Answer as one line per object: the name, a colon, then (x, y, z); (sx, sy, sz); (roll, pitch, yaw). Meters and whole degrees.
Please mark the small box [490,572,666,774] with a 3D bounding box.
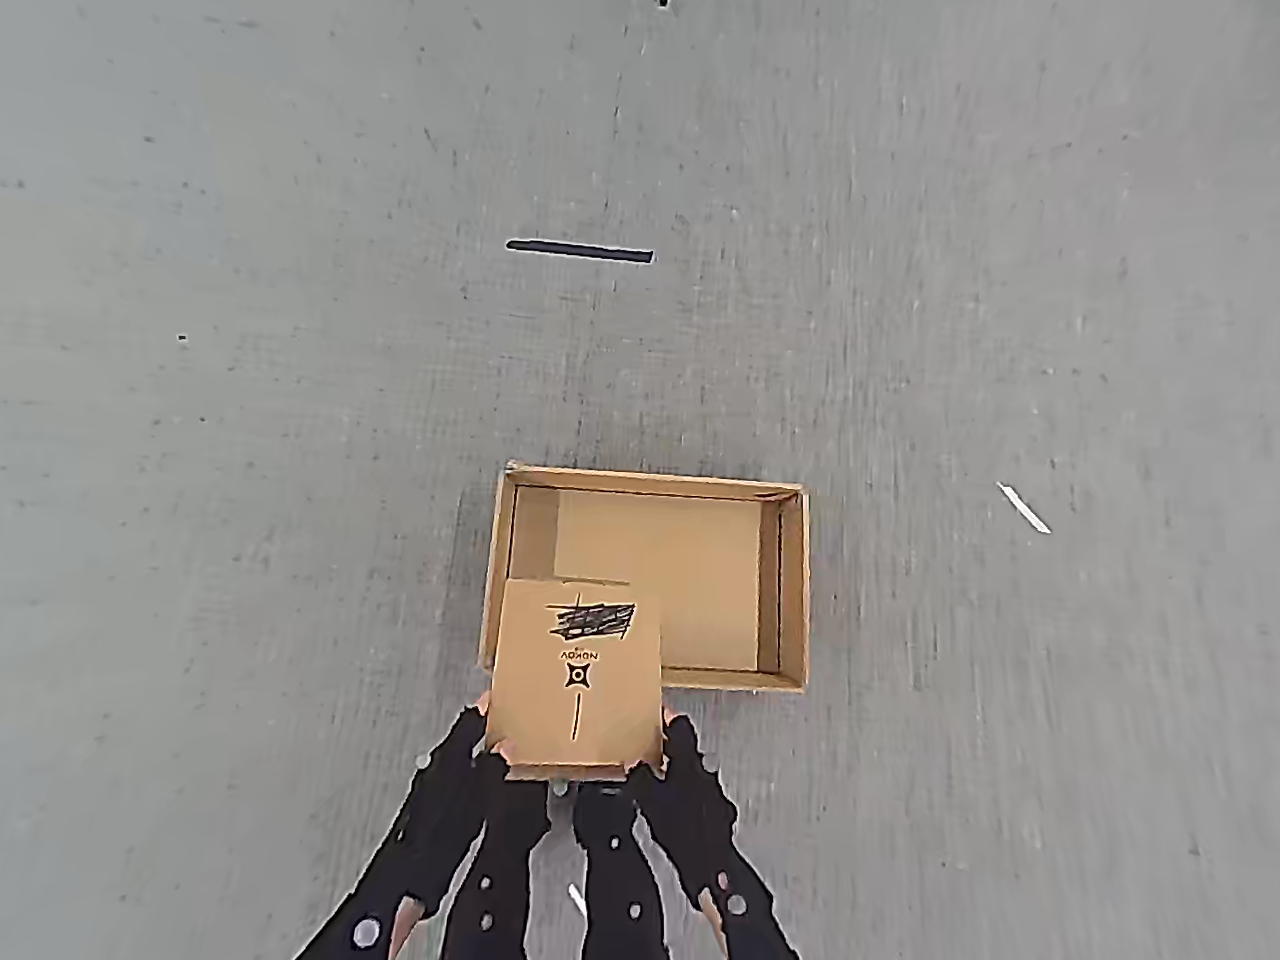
small box: (-0.070, 0.222, 0.609); (0.168, 0.176, 0.179); (5, 56, -8)
